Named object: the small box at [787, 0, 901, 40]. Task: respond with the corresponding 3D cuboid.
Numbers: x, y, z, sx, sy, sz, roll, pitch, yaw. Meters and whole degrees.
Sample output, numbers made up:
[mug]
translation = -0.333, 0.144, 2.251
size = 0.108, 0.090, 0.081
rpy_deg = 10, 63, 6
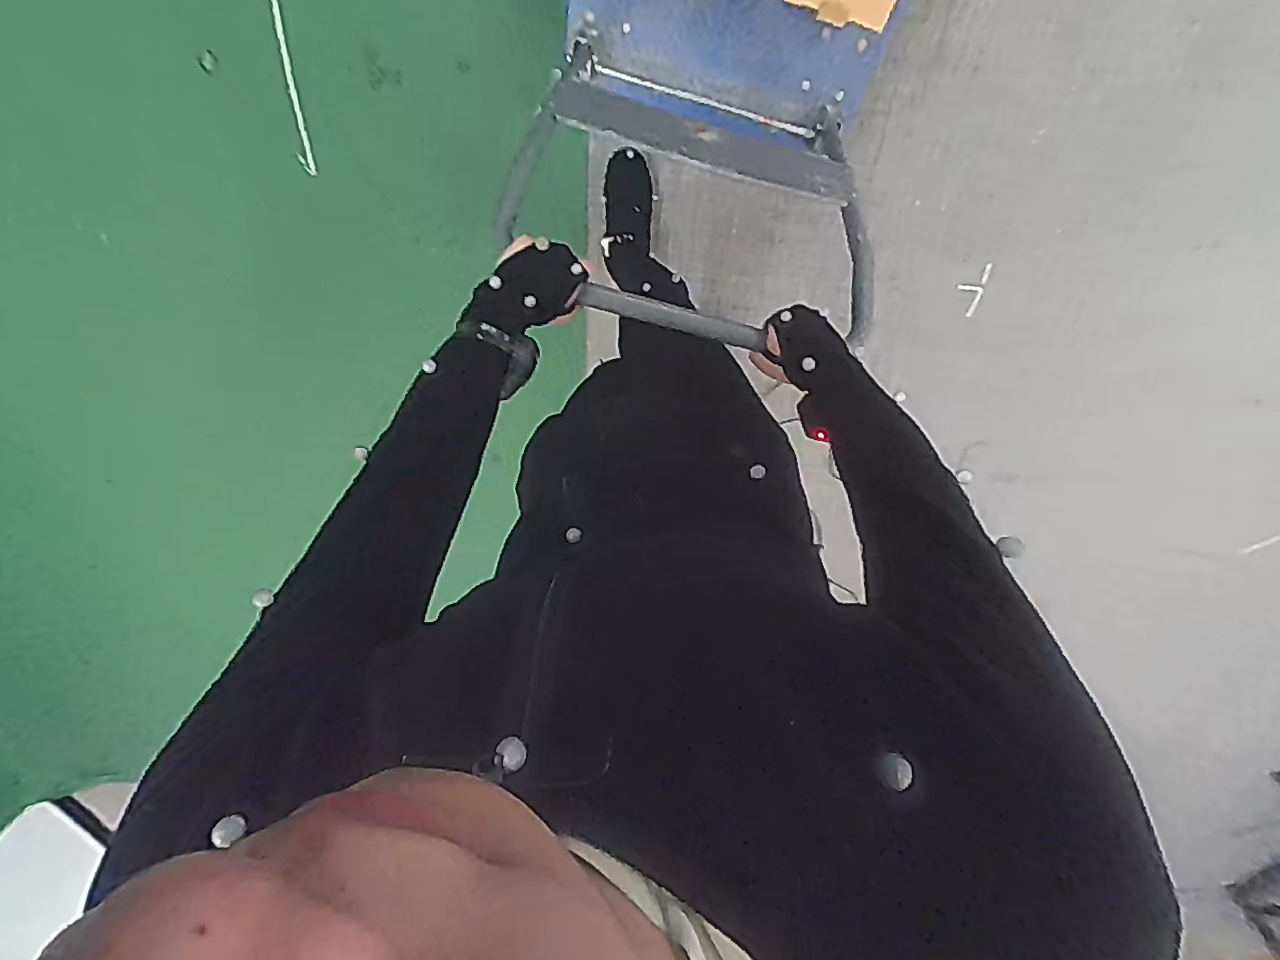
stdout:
[small box]
translation = 0.324, -0.813, 0.814
size = 0.168, 0.176, 0.179
rpy_deg = 13, 140, -6
